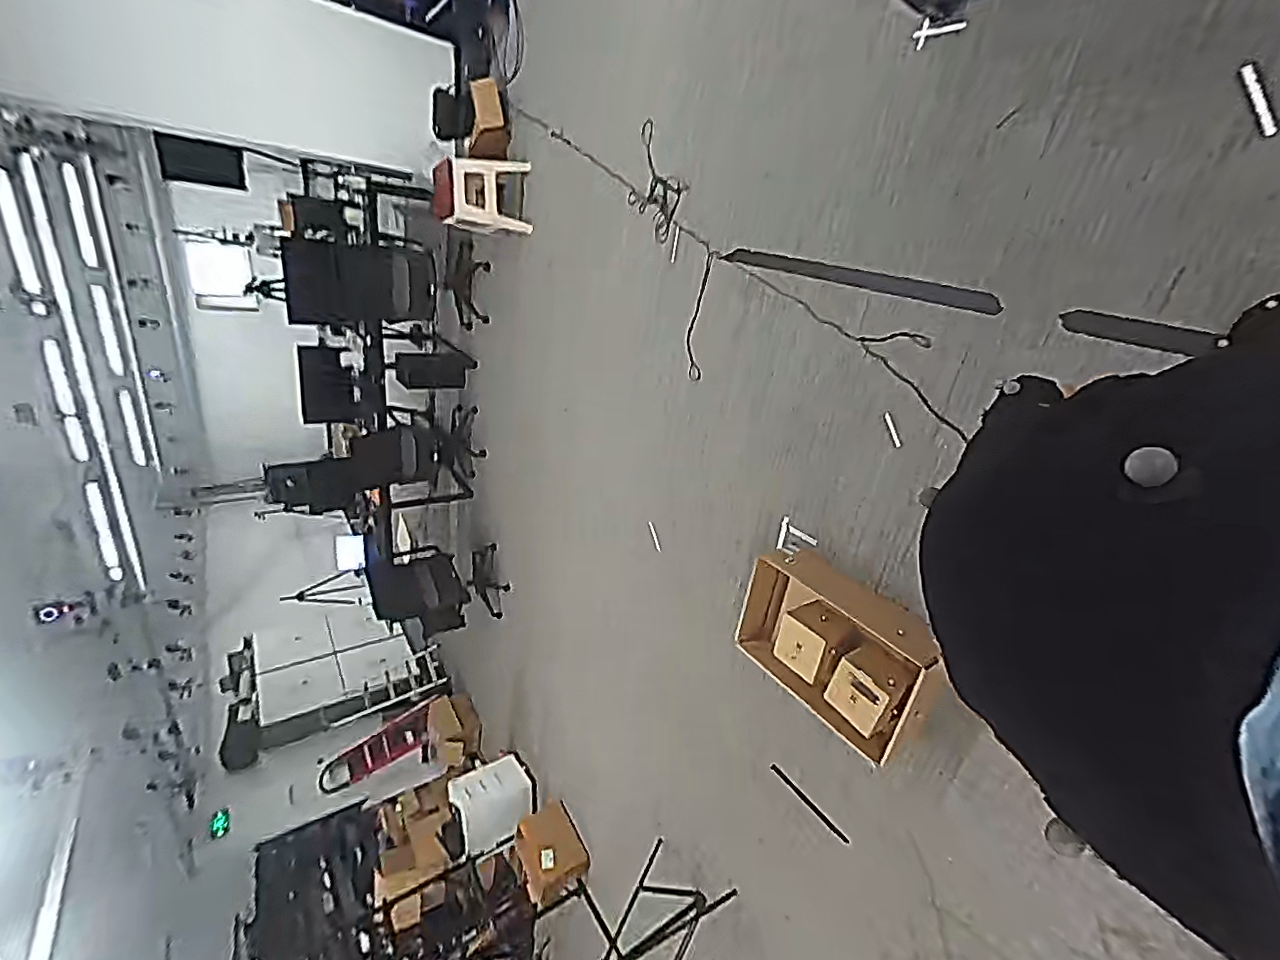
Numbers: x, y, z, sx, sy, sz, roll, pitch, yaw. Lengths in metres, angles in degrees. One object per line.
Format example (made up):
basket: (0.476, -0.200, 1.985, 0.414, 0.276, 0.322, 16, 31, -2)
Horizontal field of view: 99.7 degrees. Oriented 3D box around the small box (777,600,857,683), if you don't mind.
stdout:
small box: (0.583, 0.521, 1.773, 0.168, 0.176, 0.179, 34, 124, 46)
